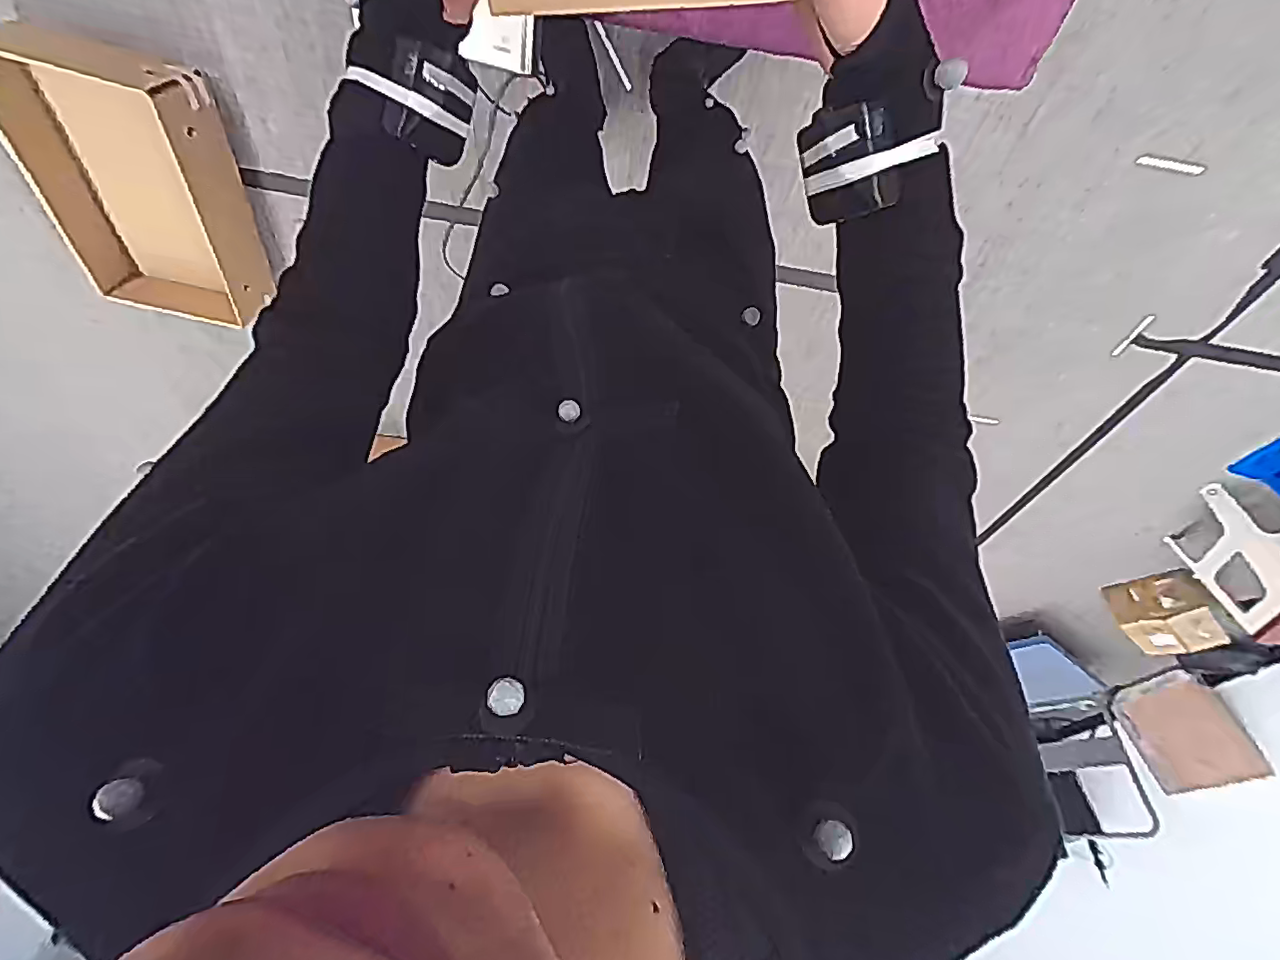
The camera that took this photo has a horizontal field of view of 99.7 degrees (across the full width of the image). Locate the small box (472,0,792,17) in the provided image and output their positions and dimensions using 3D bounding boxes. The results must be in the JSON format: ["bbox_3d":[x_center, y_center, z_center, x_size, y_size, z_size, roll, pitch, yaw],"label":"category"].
[{"bbox_3d":[-0.012,-0.356,0.256,0.179,0.176,0.168,-10,149,-7],"label":"small box"}]
